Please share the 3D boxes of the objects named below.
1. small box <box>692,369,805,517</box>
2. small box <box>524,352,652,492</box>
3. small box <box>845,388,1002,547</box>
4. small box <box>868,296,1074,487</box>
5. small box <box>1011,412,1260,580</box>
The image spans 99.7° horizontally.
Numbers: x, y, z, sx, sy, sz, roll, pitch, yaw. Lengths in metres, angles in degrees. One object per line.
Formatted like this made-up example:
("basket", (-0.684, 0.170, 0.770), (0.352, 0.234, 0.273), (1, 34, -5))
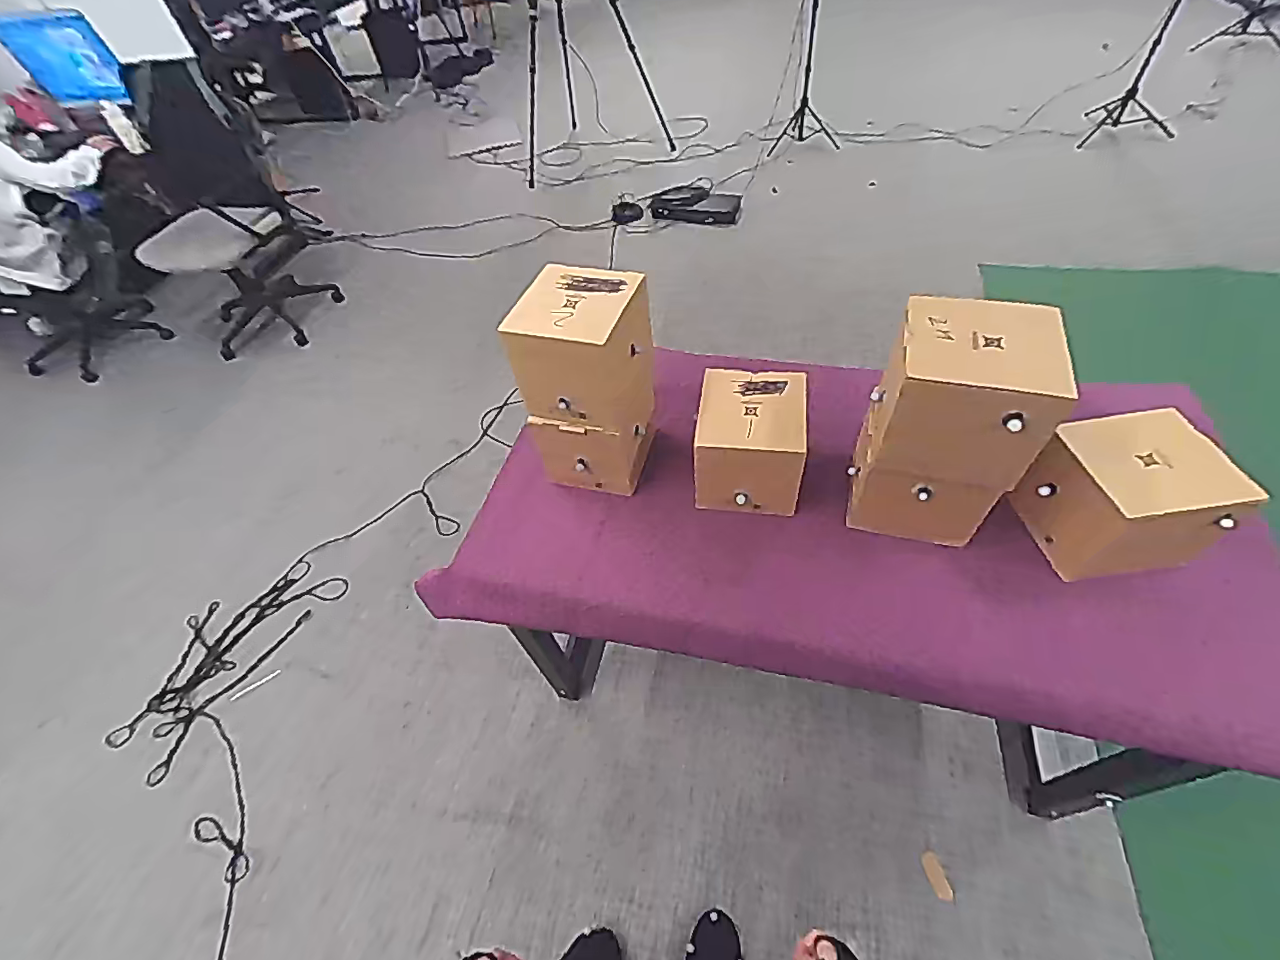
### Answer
("small box", (0.179, -0.062, 0.901), (0.168, 0.176, 0.179), (5, 53, 11))
("small box", (-0.079, -0.101, 0.963), (0.168, 0.176, 0.179), (10, 54, 14))
("small box", (0.426, -0.017, 0.837), (0.179, 0.176, 0.168), (12, 54, 15))
("small box", (0.414, -0.112, 0.703), (0.179, 0.176, 0.168), (12, 54, 16))
("small box", (0.673, 0.028, 0.771), (0.179, 0.176, 0.168), (-8, 50, 1))
